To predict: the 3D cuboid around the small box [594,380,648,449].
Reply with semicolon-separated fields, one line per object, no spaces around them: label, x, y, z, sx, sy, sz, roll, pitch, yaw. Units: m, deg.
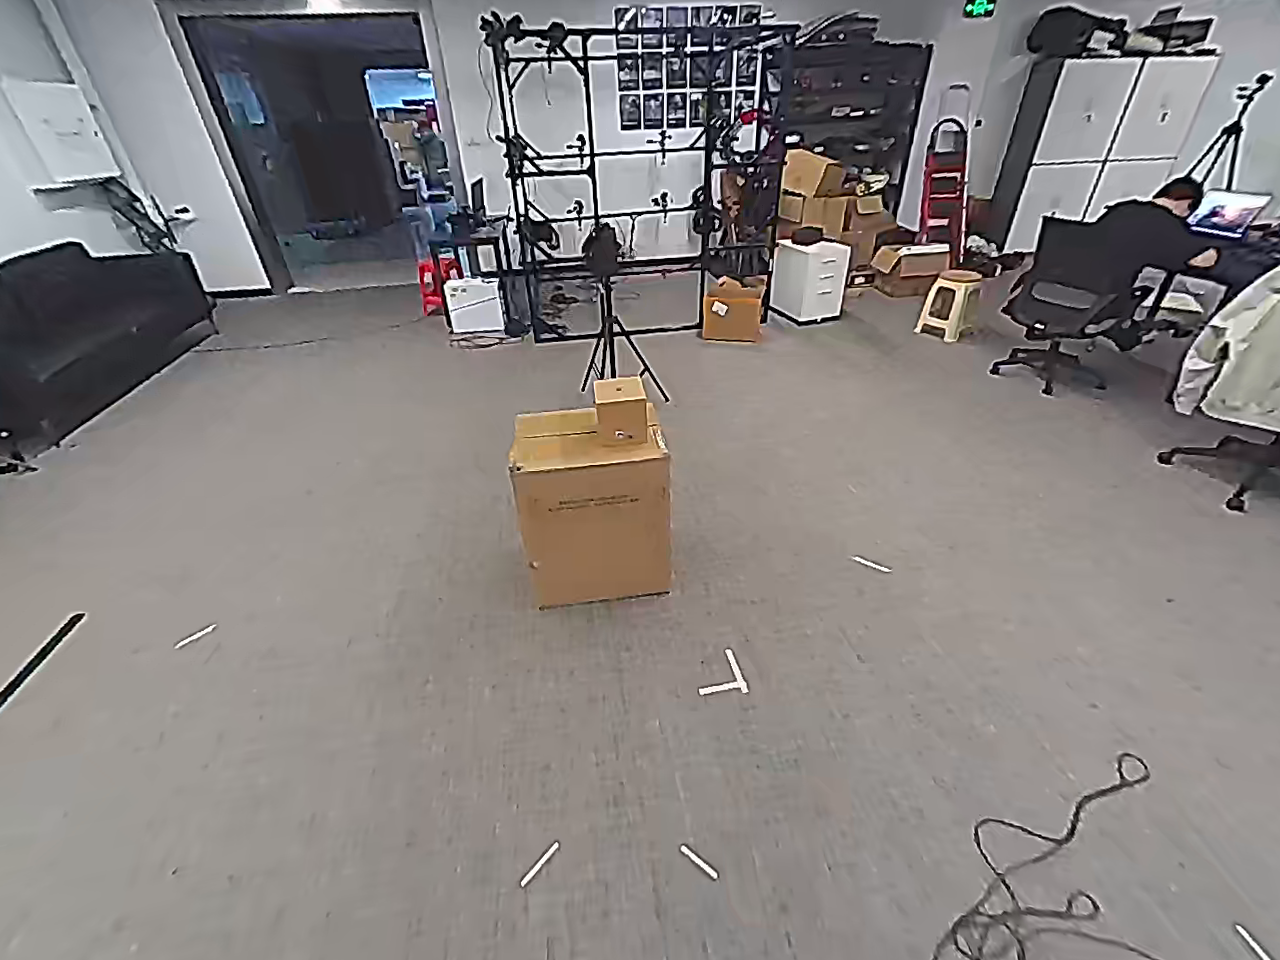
small box;-0.068;-0.225;1.860;0.168;0.176;0.179;-8;36;-4
